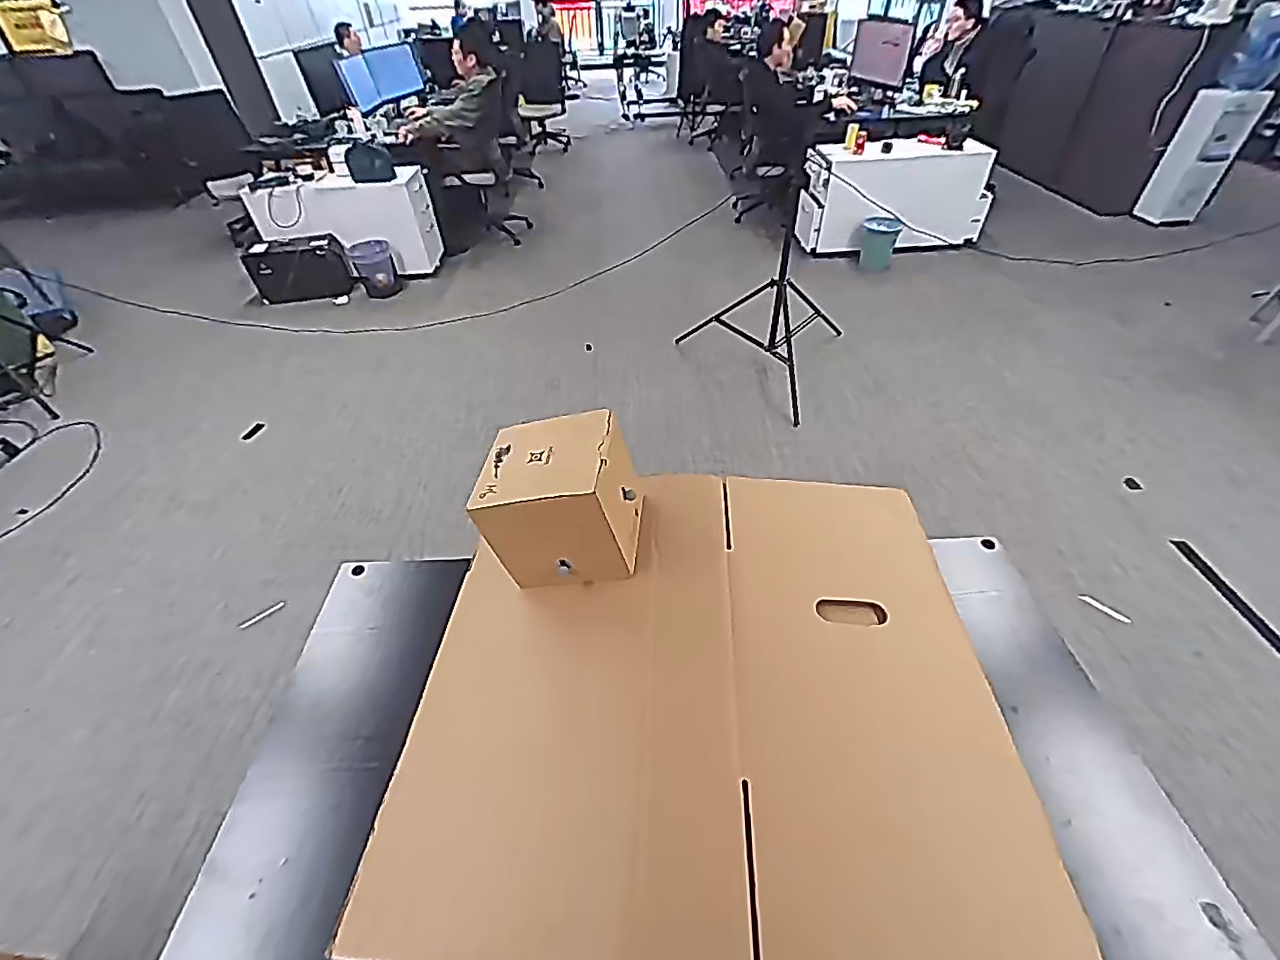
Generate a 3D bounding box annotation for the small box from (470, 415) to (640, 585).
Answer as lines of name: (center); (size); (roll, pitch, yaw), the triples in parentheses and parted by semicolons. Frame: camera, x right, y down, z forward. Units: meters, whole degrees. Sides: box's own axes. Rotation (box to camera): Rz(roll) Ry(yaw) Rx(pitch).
small box: (-0.105, 0.033, 0.770); (0.179, 0.176, 0.168); (-8, 41, 13)
